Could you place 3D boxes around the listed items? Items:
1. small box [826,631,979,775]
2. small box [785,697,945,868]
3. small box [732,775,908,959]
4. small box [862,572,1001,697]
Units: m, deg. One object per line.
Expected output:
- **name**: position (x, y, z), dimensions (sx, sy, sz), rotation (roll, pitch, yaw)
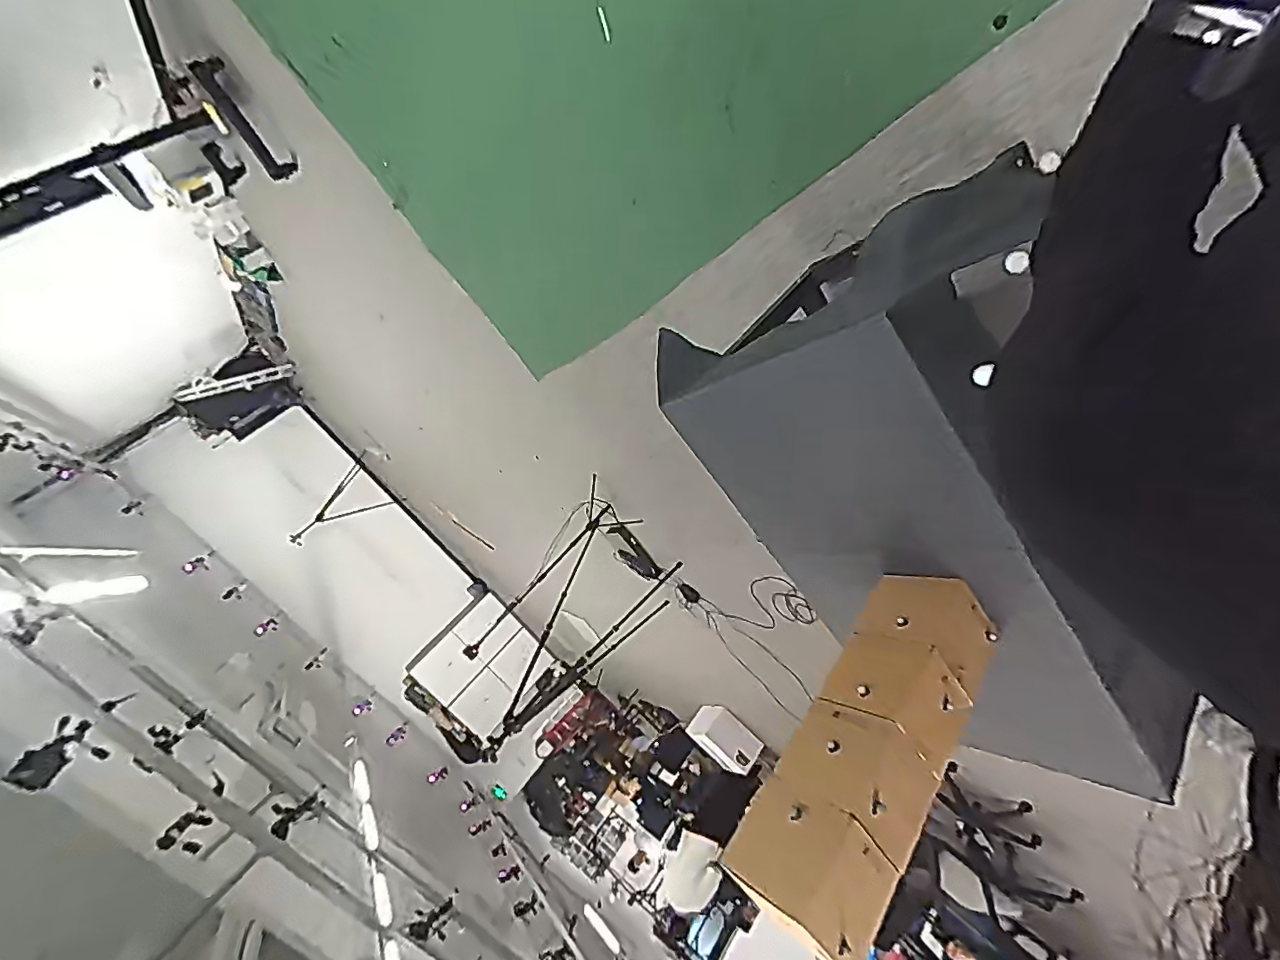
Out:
- **small box**: position (0.496, 0.408, 1.023), dimensions (0.168, 0.176, 0.179), rotation (51, 152, -14)
- **small box**: position (0.395, 0.513, 0.946), dimensions (0.179, 0.176, 0.168), rotation (52, 152, -16)
- **small box**: position (0.291, 0.615, 0.872), dimensions (0.168, 0.176, 0.179), rotation (53, 152, -17)
- **small box**: position (0.596, 0.303, 1.096), dimensions (0.168, 0.176, 0.179), rotation (51, 154, -14)
